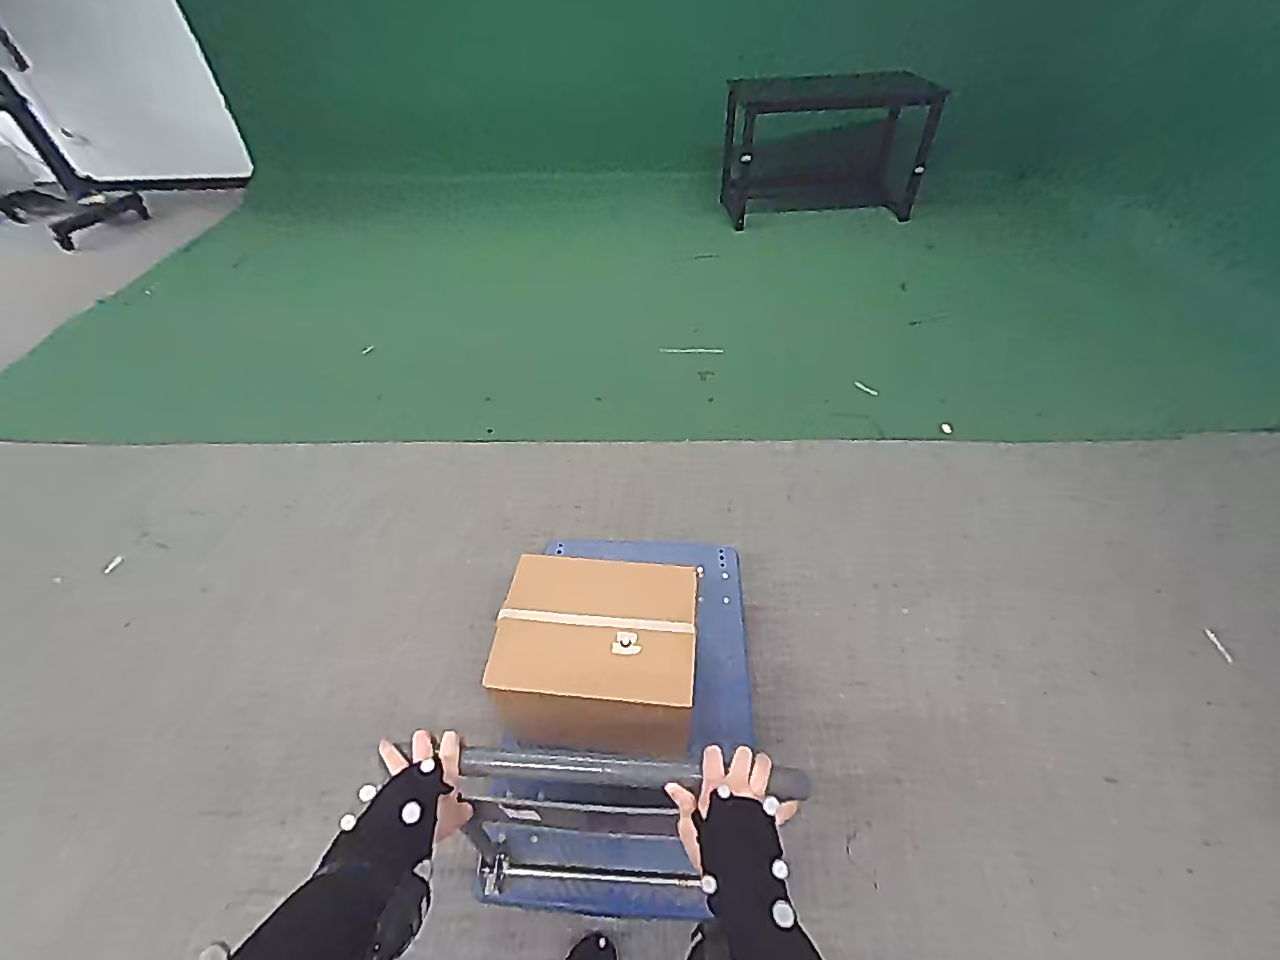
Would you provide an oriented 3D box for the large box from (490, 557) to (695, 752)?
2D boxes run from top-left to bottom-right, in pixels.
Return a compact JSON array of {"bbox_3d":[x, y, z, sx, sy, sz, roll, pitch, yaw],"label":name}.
[{"bbox_3d":[-0.087,0.403,1.248,0.408,0.320,0.320,4,47,4],"label":"large box"}]
